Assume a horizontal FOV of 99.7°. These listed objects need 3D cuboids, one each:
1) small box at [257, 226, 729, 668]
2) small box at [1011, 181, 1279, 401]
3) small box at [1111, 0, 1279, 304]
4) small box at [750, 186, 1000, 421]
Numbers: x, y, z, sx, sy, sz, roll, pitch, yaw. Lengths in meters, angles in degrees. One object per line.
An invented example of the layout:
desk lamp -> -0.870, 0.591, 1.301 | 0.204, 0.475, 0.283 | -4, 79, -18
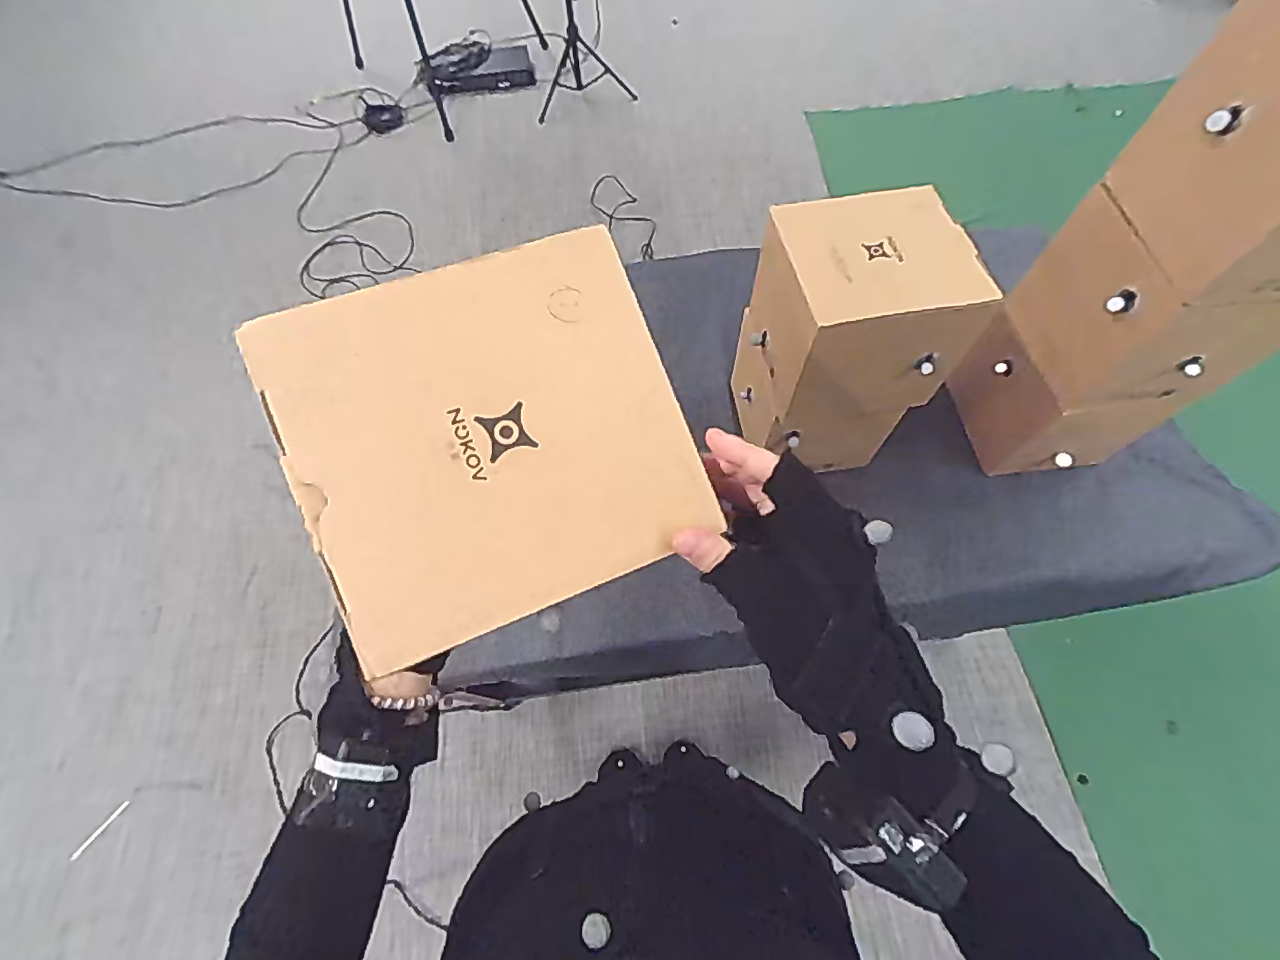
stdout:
small box -> -0.076, -0.017, 0.331 | 0.179, 0.176, 0.168 | -22, 90, -11
small box -> 0.555, -0.199, 0.587 | 0.168, 0.176, 0.179 | -5, 64, 0
small box -> 0.548, -0.270, 0.439 | 0.168, 0.176, 0.179 | -3, 63, 1
small box -> 0.235, -0.185, 0.593 | 0.179, 0.176, 0.168 | -9, 63, -2
